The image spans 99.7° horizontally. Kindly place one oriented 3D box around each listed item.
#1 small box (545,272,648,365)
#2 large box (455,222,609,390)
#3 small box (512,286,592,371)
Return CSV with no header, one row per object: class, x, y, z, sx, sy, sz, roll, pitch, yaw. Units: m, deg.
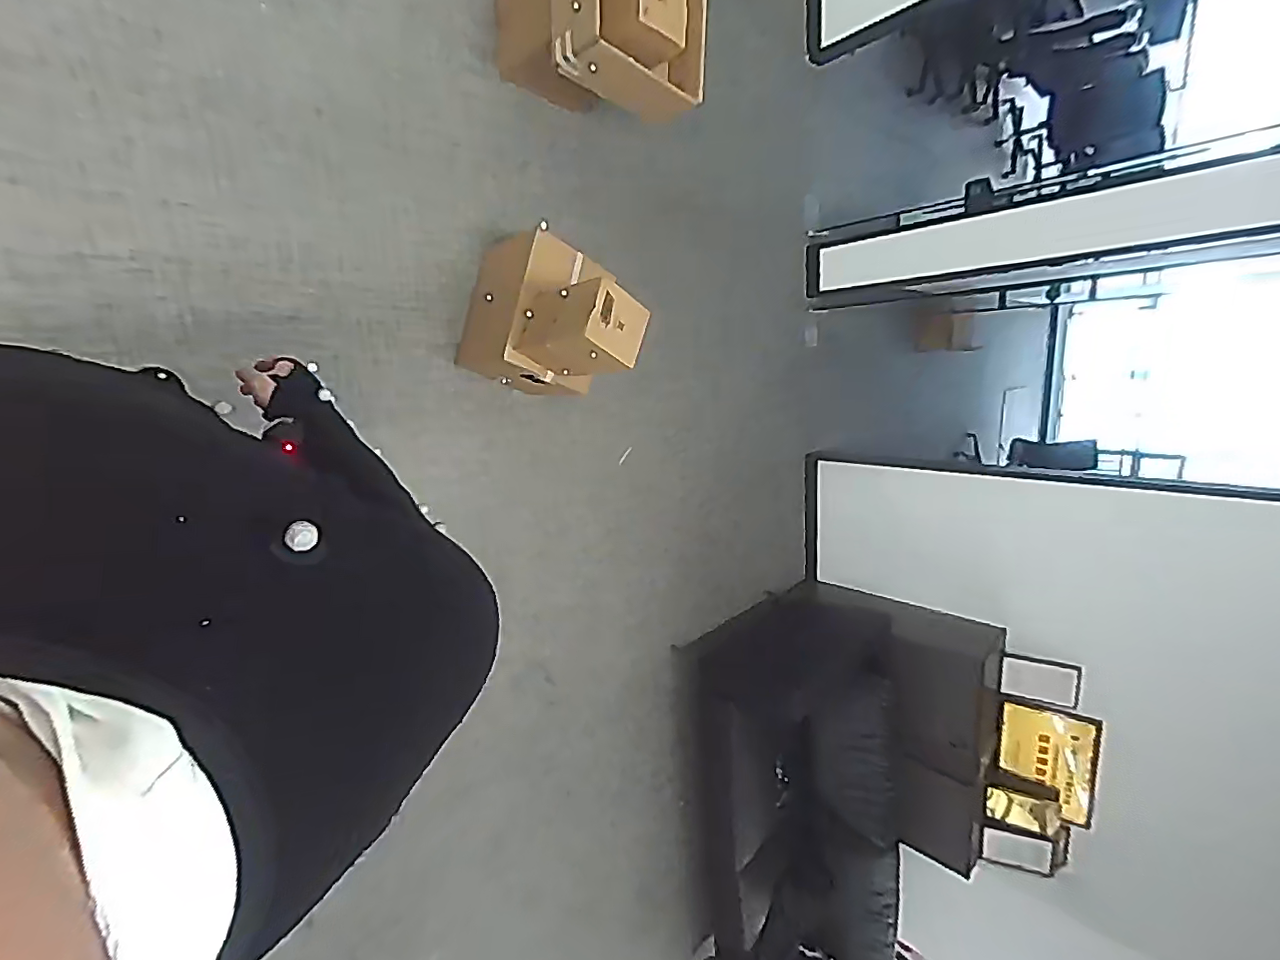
small box,-0.116,-0.406,1.399,0.179,0.176,0.168,26,78,-43
large box,-0.348,-0.526,1.728,0.320,0.320,0.408,17,84,-46
small box,-0.225,-0.419,1.520,0.179,0.176,0.168,26,78,-42
